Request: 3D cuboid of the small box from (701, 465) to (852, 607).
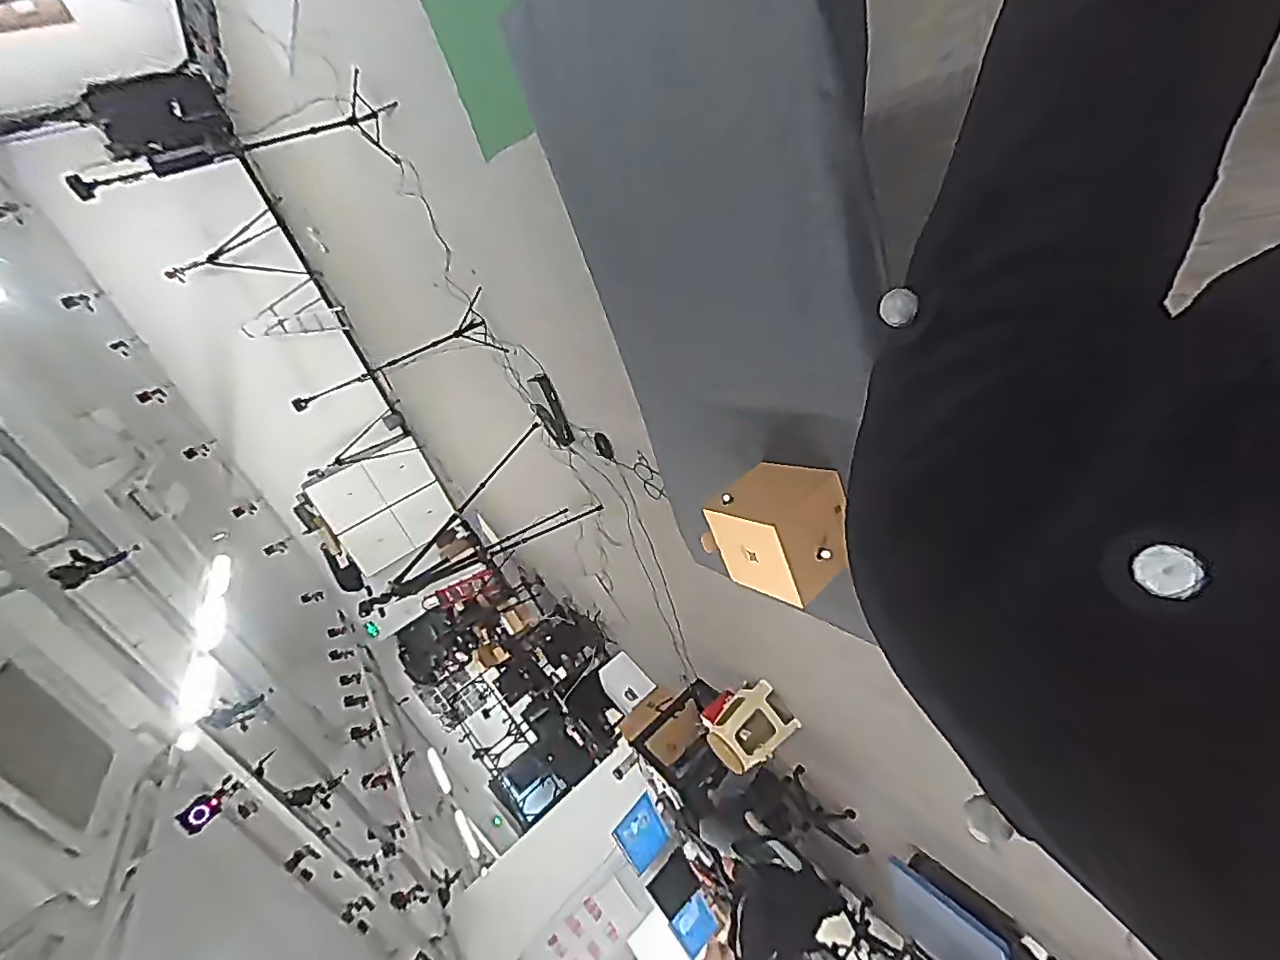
[{"bbox_3d":[0.245,0.087,0.944,0.179,0.176,0.168,12,130,57],"label":"small box"}]
